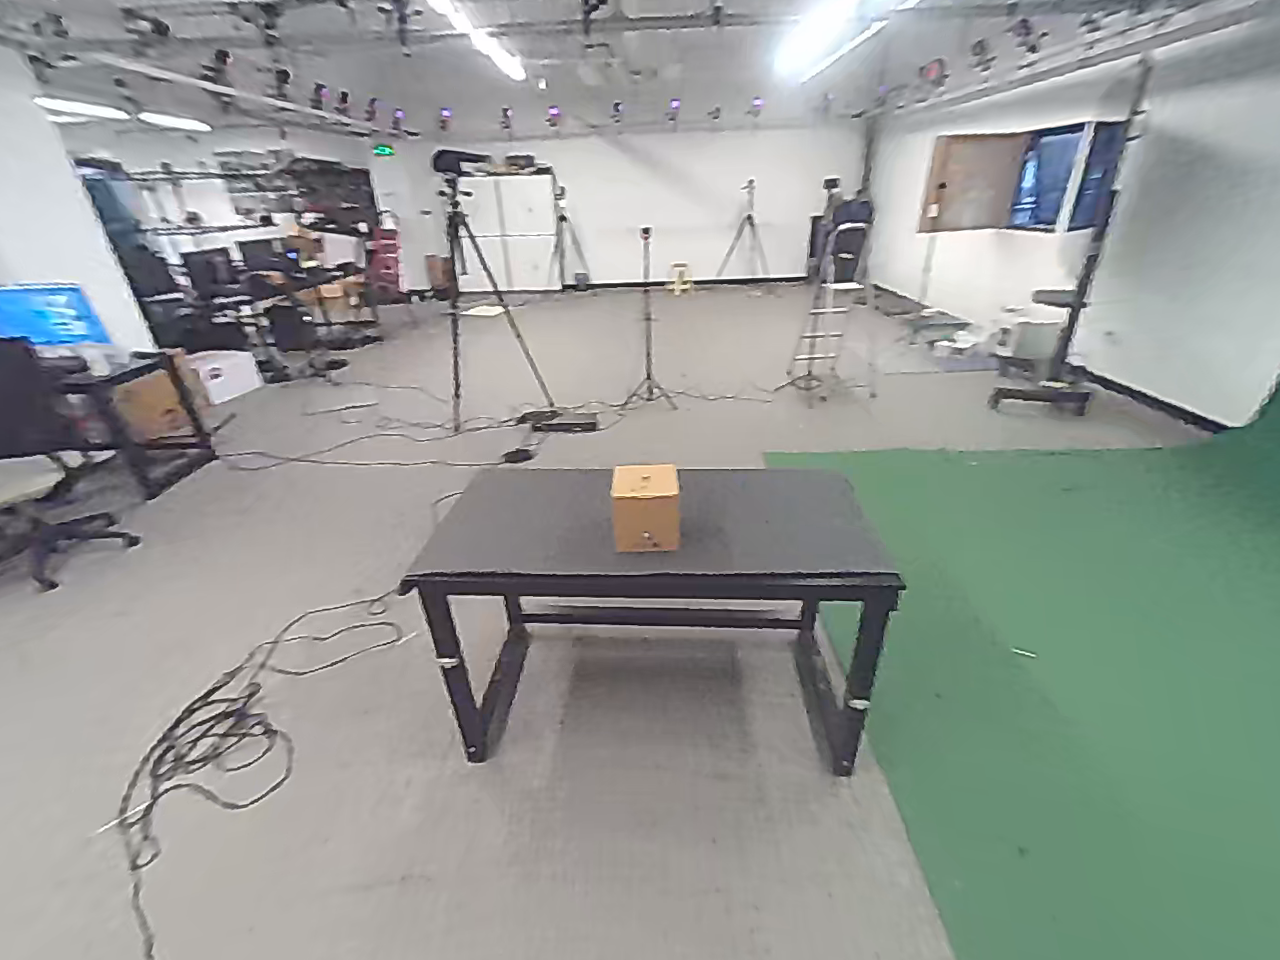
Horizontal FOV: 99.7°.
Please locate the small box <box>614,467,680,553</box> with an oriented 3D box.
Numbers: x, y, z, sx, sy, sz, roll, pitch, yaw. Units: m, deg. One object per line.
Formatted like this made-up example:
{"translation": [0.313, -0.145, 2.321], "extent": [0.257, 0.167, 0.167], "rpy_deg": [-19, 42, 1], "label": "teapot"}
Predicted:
{"translation": [0.019, 0.077, 1.428], "extent": [0.168, 0.176, 0.179], "rpy_deg": [-2, 27, 1], "label": "small box"}
